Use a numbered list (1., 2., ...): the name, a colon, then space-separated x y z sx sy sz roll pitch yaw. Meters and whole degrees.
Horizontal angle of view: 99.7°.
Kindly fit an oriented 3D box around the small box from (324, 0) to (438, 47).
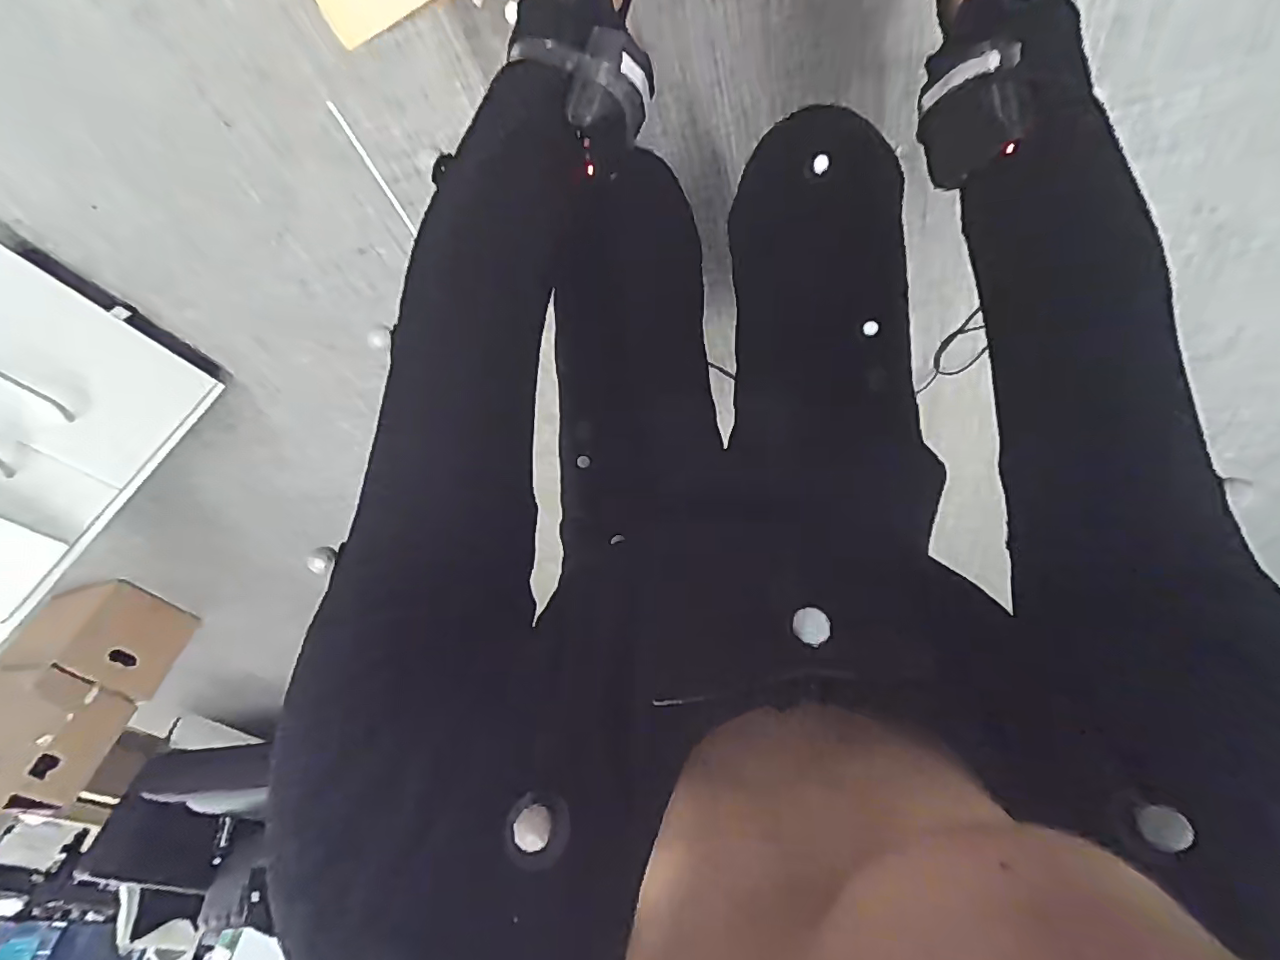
1. small box: -0.199 -0.509 0.445 0.179 0.176 0.168 -14 136 19
